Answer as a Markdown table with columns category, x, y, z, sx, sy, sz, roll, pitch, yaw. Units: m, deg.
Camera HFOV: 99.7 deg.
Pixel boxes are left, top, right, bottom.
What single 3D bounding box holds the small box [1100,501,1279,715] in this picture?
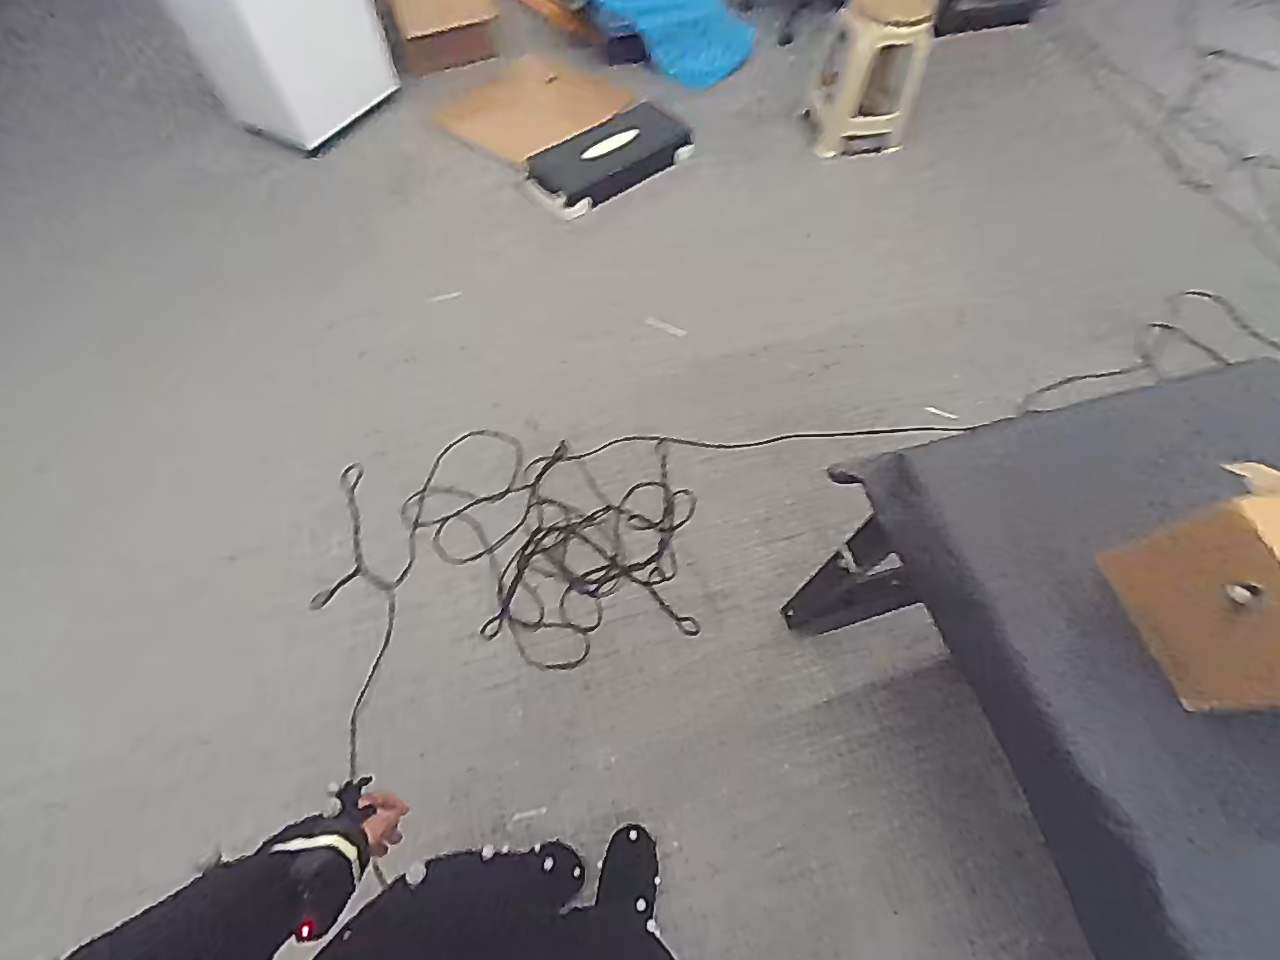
| category | x | y | z | sx | sy | sz | roll | pitch | yaw |
| --- | --- | --- | --- | --- | --- | --- | --- | --- | --- |
| small box | 0.636 | 0.130 | 0.543 | 0.168 | 0.176 | 0.179 | -8 | 62 | -7 |
